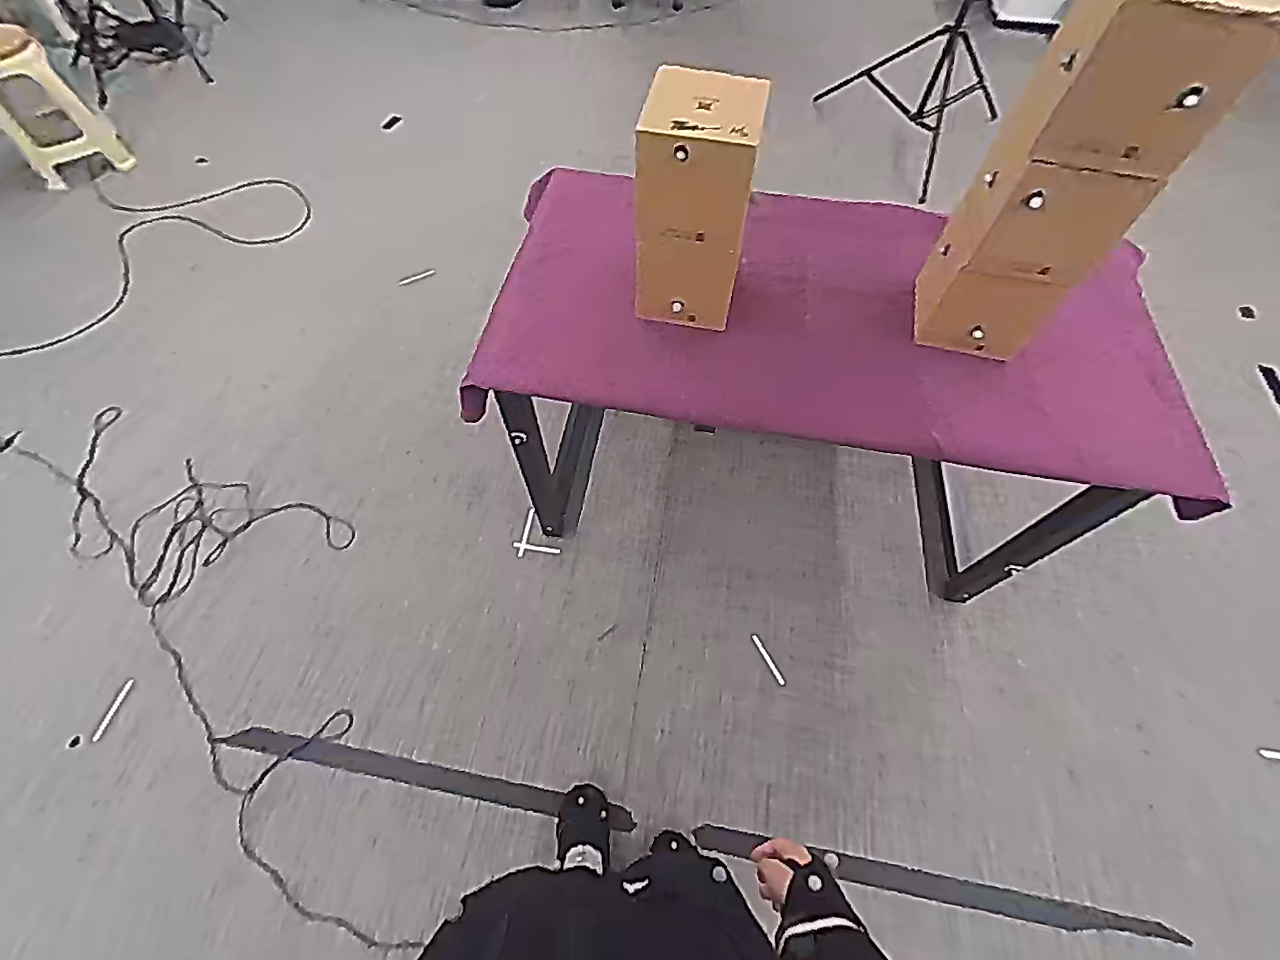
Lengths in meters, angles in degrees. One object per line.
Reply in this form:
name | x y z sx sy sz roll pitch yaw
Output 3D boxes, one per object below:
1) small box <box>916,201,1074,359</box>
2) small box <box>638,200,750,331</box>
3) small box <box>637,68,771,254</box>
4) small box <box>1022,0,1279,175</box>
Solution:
small box | 0.594 -0.340 0.929 0.168 0.176 0.179 13 61 8
small box | 0.090 -0.394 0.955 0.168 0.176 0.179 10 62 5
small box | 0.090 -0.475 0.812 0.168 0.176 0.179 11 60 6
small box | 0.591 -0.497 0.642 0.168 0.176 0.179 15 60 7
